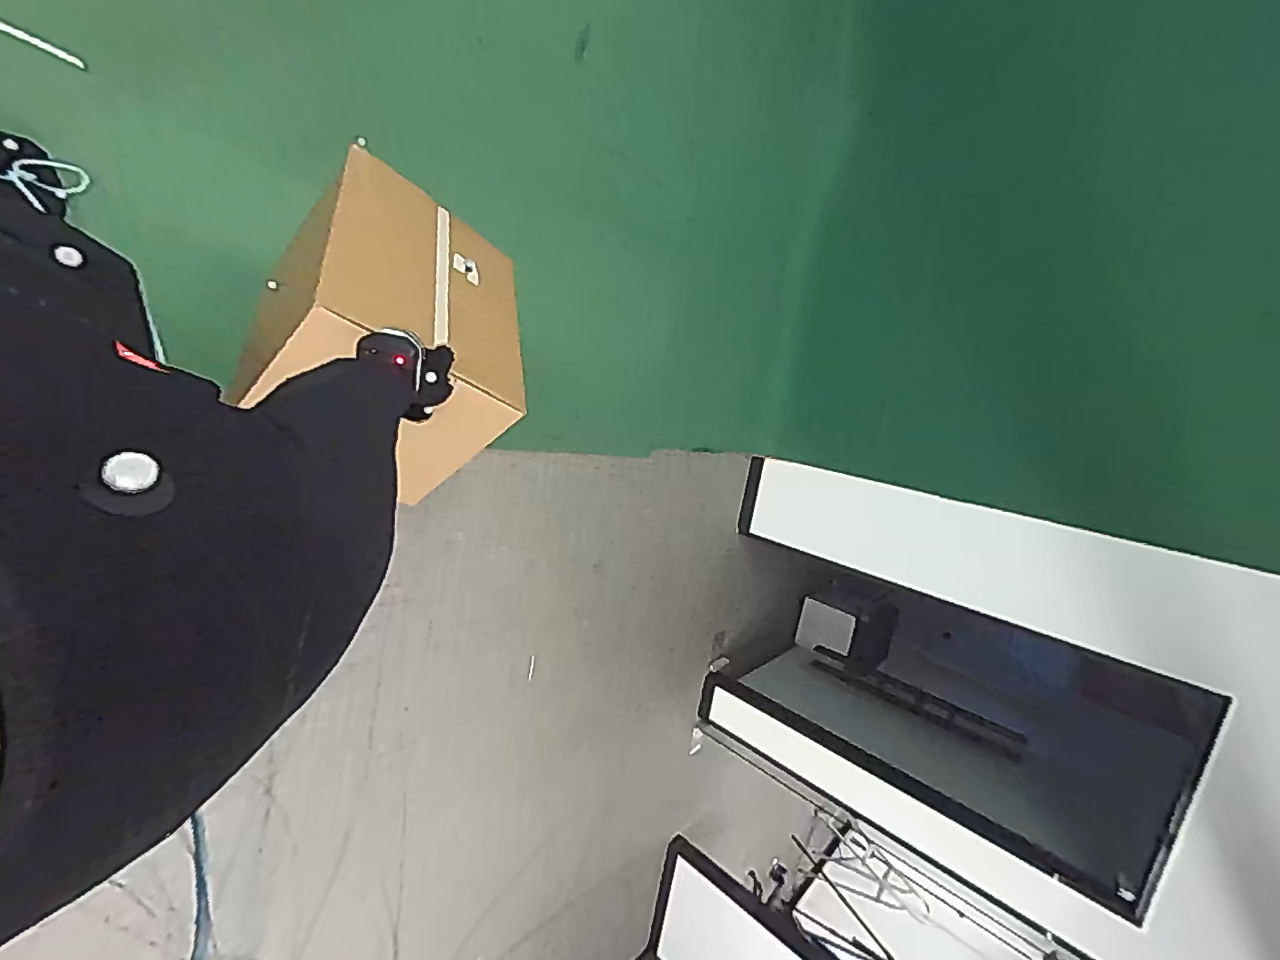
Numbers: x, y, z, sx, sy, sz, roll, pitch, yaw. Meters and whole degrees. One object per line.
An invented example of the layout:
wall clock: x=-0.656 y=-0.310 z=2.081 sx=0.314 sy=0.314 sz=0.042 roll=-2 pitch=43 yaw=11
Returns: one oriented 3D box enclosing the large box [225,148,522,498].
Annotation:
large box: x=-0.431 y=-0.239 z=0.911 sx=0.320 sy=0.320 sz=0.408 roll=28 pitch=39 yaw=-45
